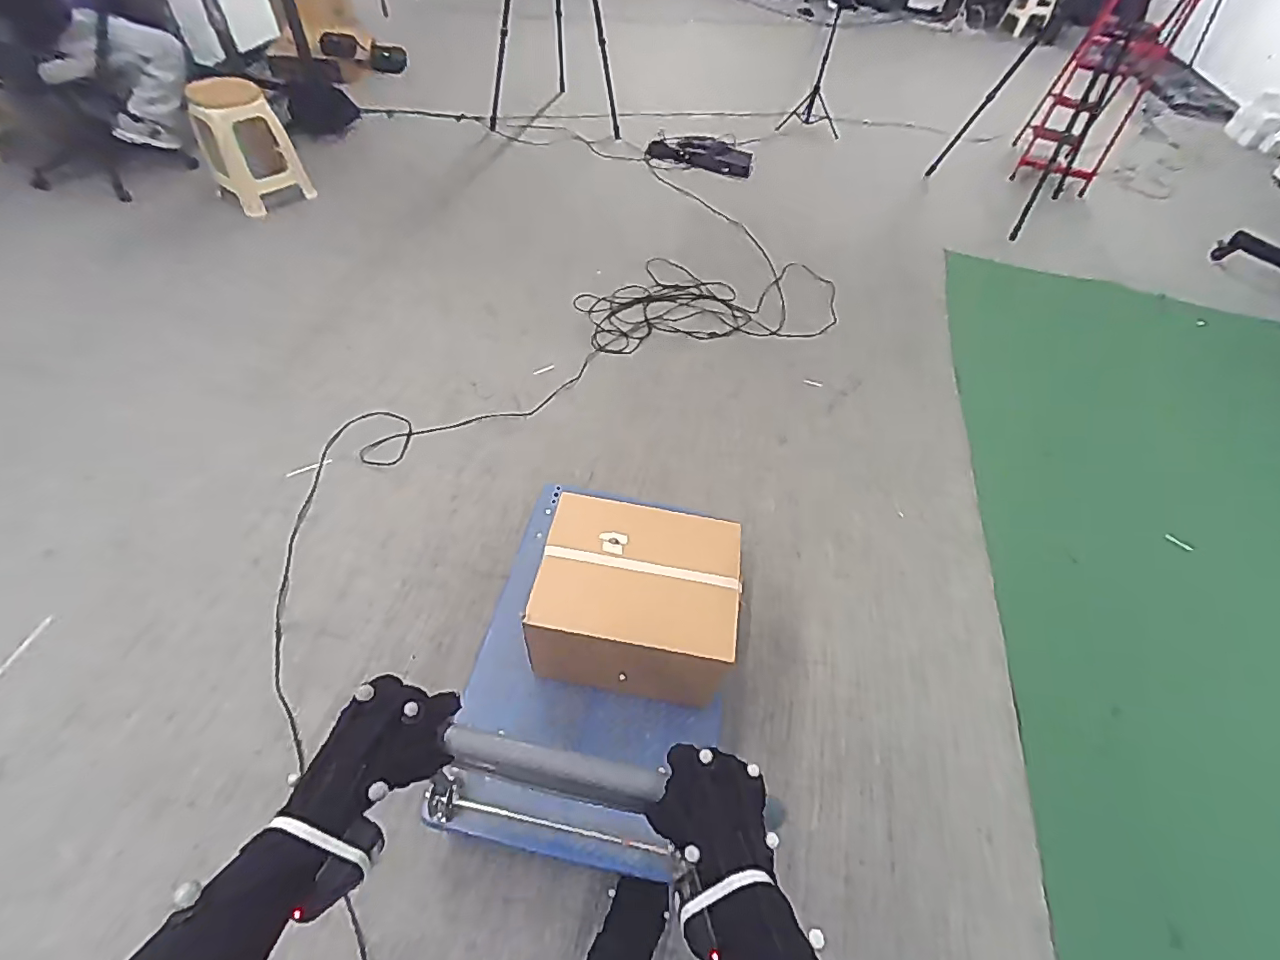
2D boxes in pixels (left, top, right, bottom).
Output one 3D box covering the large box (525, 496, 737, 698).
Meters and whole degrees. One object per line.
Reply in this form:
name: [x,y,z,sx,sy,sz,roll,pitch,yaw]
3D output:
large box: [-0.009,0.272,1.229,0.408,0.320,0.320,9,52,3]
